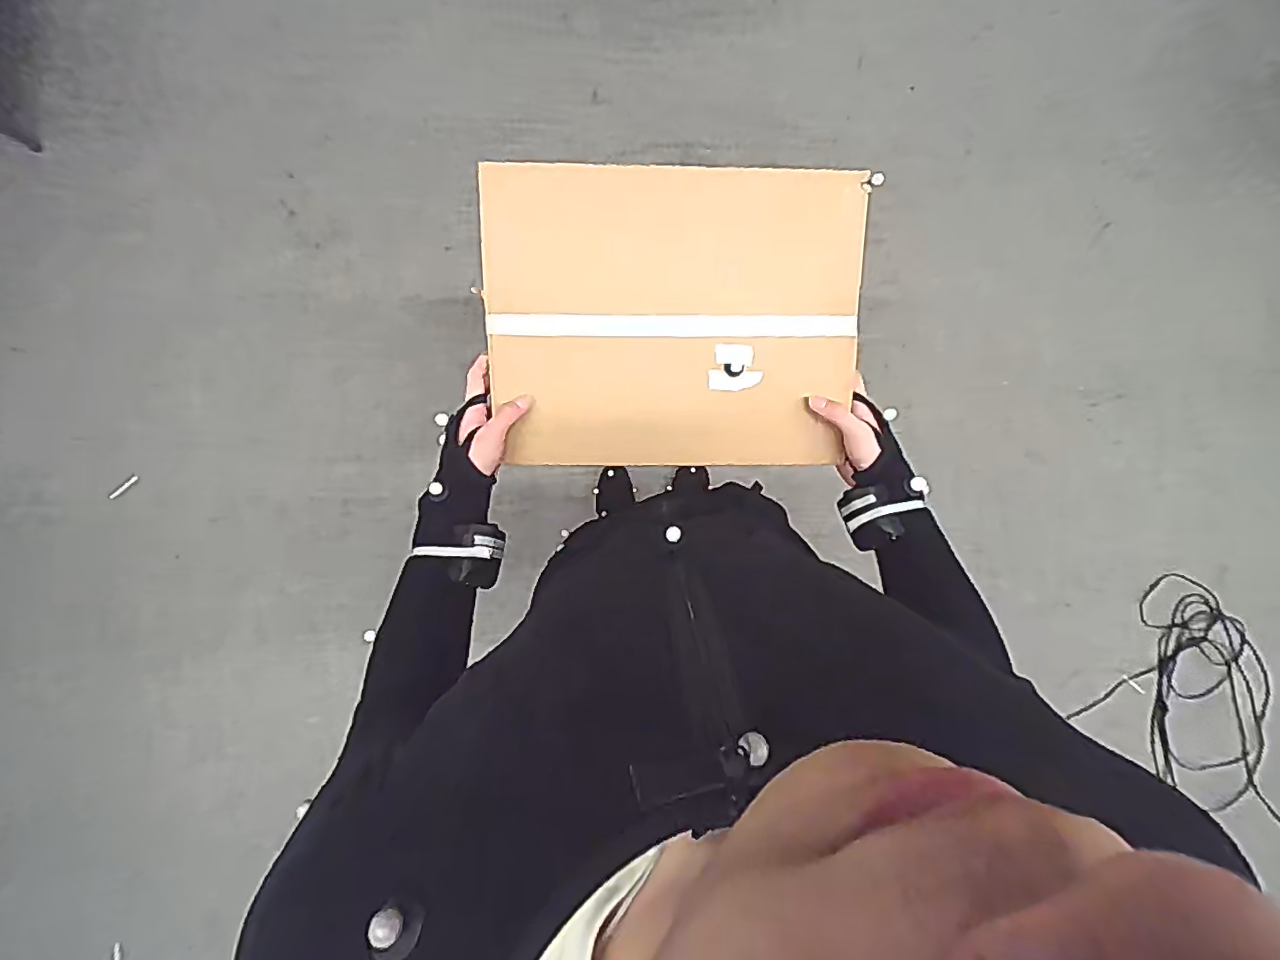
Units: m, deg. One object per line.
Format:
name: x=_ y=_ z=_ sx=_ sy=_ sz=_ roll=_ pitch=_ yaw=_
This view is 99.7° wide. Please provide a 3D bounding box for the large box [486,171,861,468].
large box: x=0.033 y=-0.202 z=0.742 sx=0.408 sy=0.320 sz=0.320 roll=-2 pitch=103 yaw=-3
